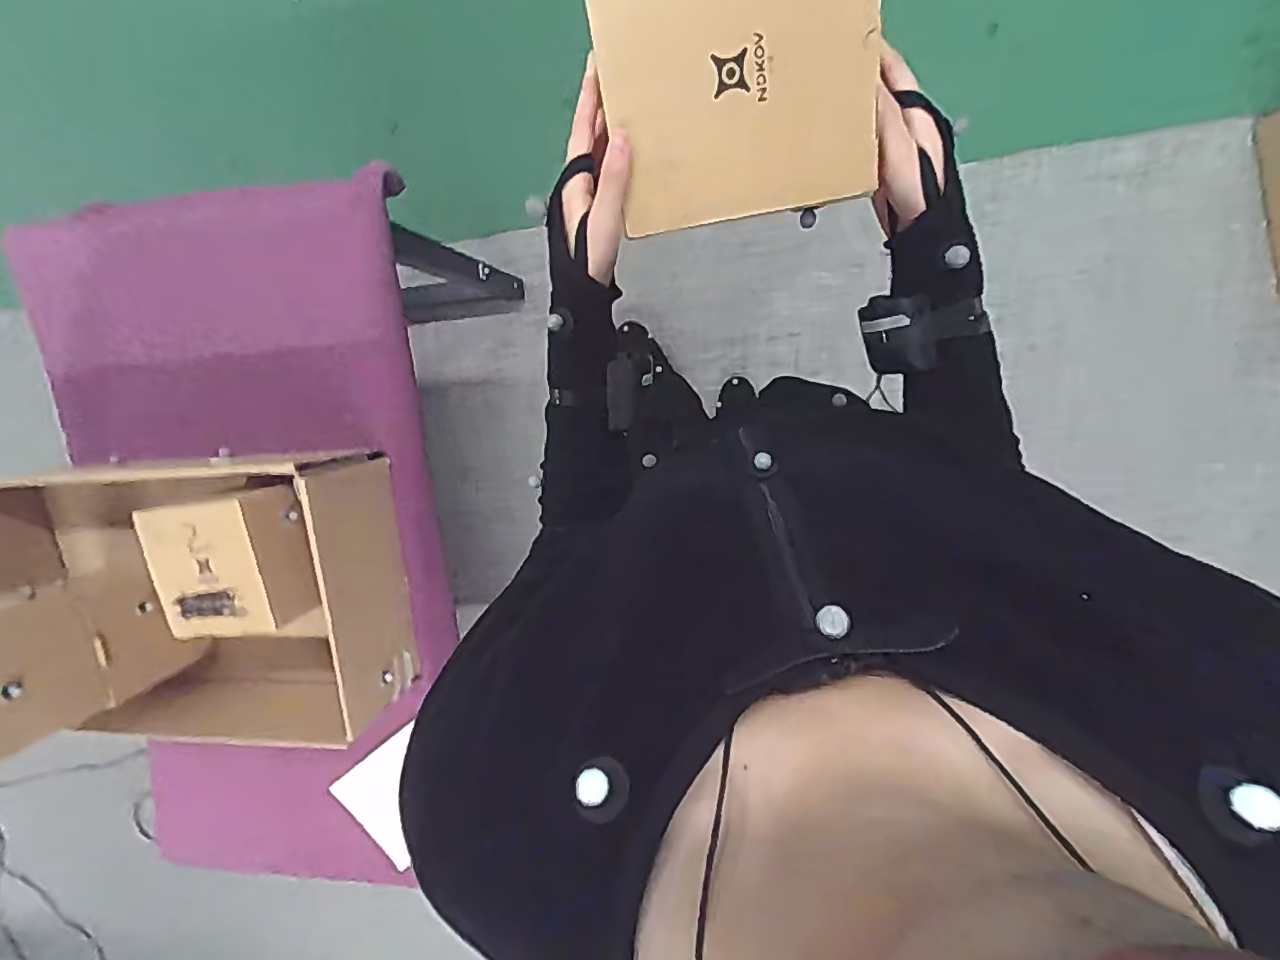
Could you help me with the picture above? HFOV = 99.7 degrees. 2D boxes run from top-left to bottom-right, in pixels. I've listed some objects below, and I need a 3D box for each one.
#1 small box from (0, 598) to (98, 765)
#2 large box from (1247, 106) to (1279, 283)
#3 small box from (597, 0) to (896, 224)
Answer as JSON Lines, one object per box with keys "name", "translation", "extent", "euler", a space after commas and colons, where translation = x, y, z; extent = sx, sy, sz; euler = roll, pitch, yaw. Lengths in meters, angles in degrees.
{"name": "small box", "translation": [-0.835, 0.252, 0.657], "extent": [0.168, 0.176, 0.179], "euler": [-5, 101, 8]}
{"name": "large box", "translation": [1.509, -0.618, 1.032], "extent": [0.320, 0.320, 0.408], "euler": [-18, 97, 11]}
{"name": "small box", "translation": [0.068, -0.293, 0.401], "extent": [0.179, 0.176, 0.168], "euler": [-9, 115, 4]}
